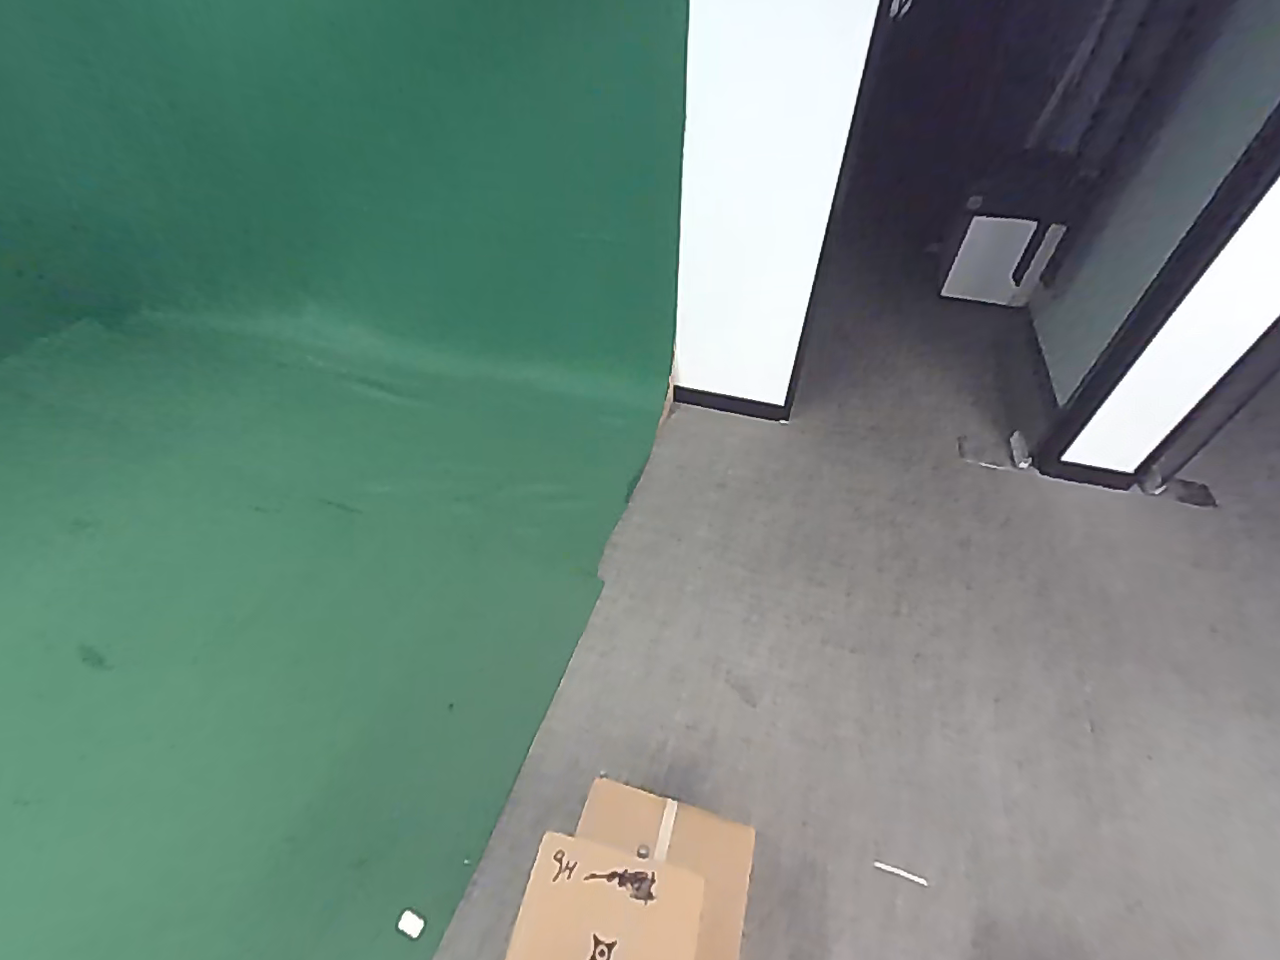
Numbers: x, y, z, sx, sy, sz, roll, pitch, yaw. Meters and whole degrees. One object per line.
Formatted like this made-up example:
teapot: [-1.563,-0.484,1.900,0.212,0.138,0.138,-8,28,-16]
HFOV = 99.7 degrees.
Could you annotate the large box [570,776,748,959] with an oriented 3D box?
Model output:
large box: [-0.003,0.842,0.984,0.320,0.320,0.408,13,47,12]

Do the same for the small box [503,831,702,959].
small box: [-0.038,0.485,0.533,0.168,0.176,0.179,10,47,10]
